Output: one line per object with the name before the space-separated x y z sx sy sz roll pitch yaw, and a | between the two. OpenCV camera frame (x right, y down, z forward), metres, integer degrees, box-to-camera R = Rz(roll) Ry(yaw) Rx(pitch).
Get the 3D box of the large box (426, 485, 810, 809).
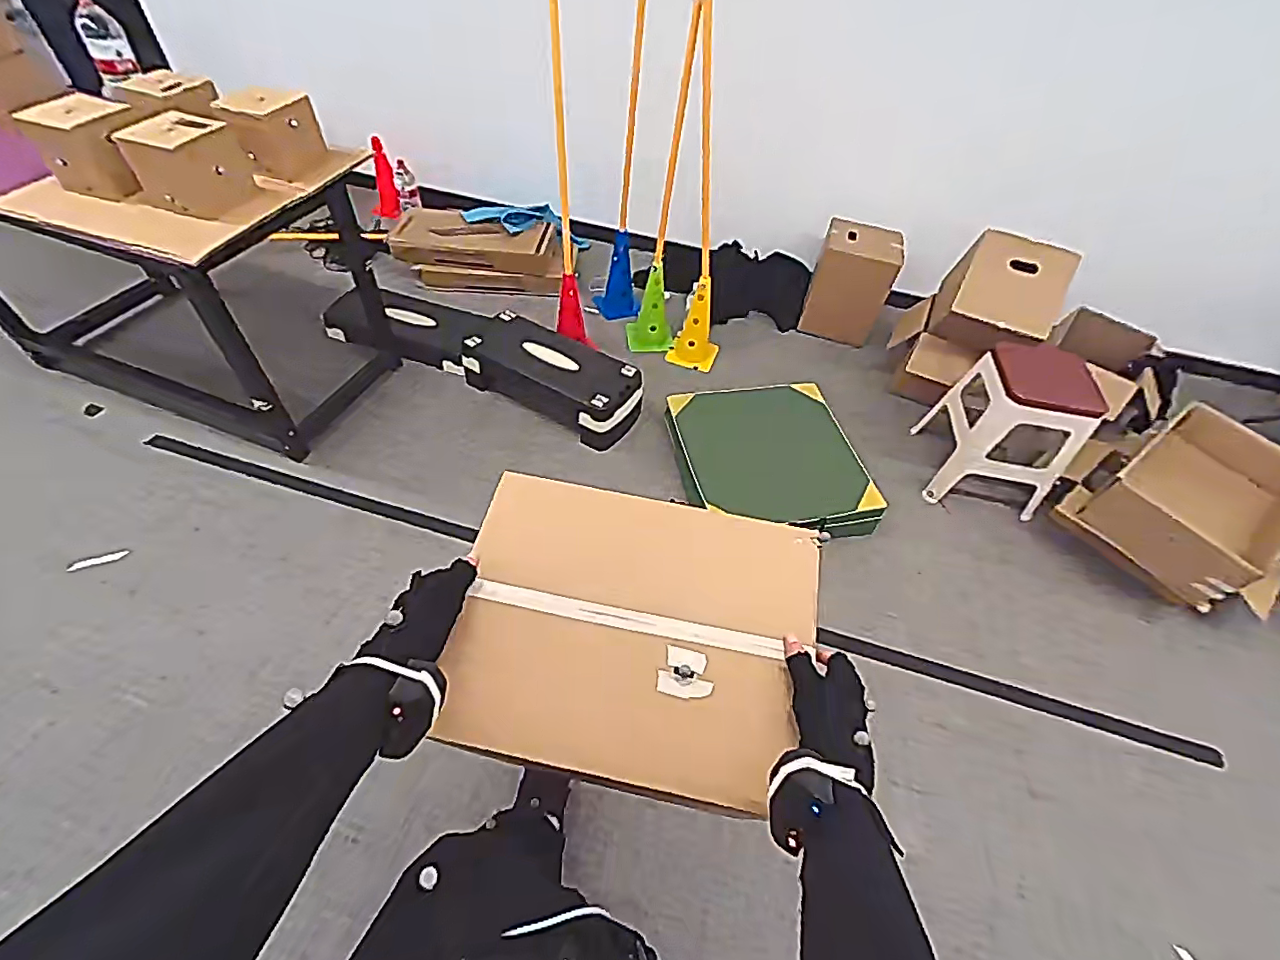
large box | -0.012 0.243 0.755 0.408 0.320 0.320 11 60 4
